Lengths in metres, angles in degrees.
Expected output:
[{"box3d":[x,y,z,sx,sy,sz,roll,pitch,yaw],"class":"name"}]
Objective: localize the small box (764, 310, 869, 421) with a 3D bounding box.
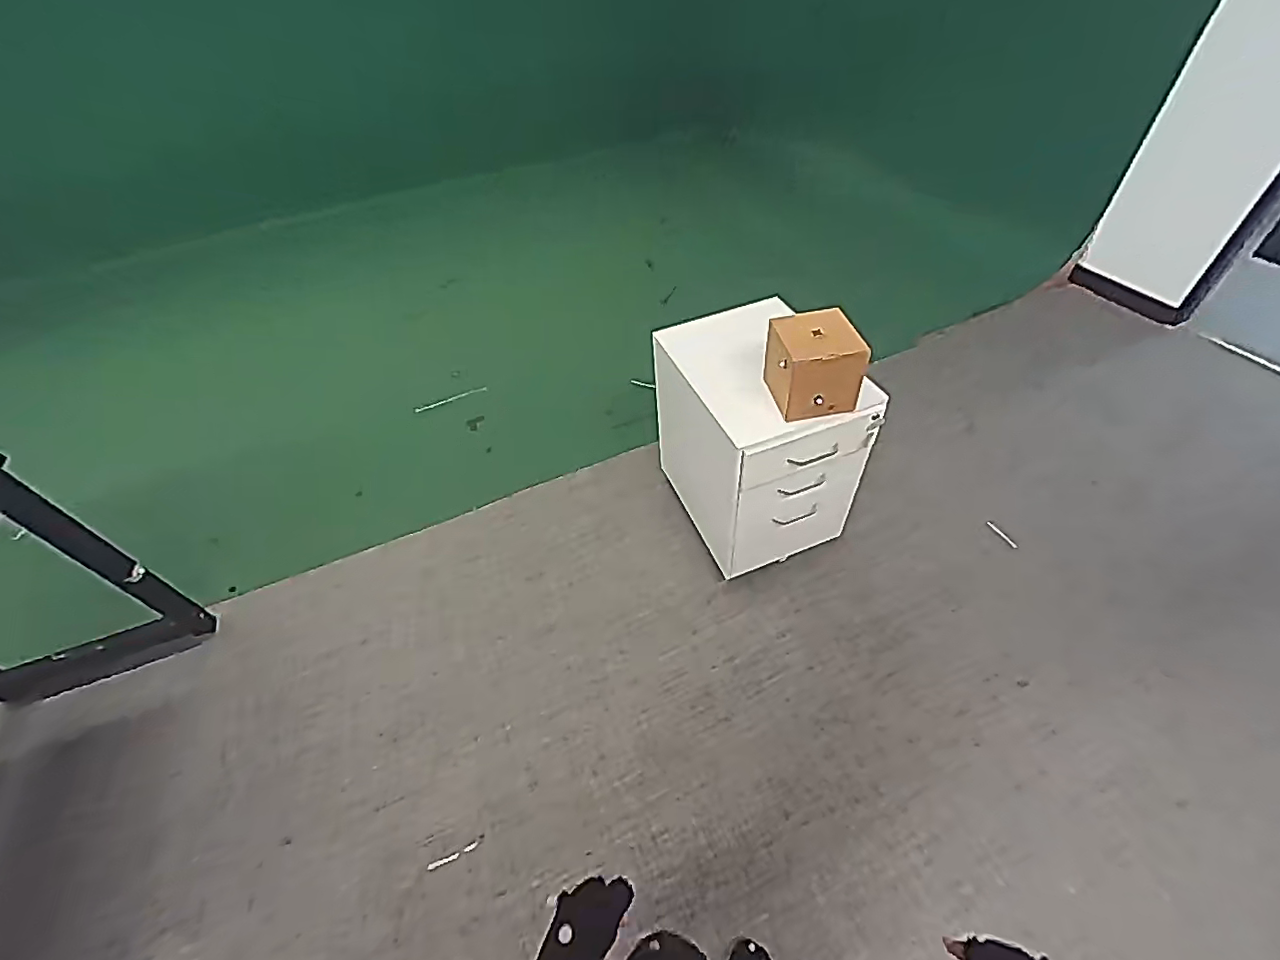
[{"box3d":[0.390,-0.259,1.232,0.168,0.176,0.179,-10,48,-2],"class":"small box"}]
